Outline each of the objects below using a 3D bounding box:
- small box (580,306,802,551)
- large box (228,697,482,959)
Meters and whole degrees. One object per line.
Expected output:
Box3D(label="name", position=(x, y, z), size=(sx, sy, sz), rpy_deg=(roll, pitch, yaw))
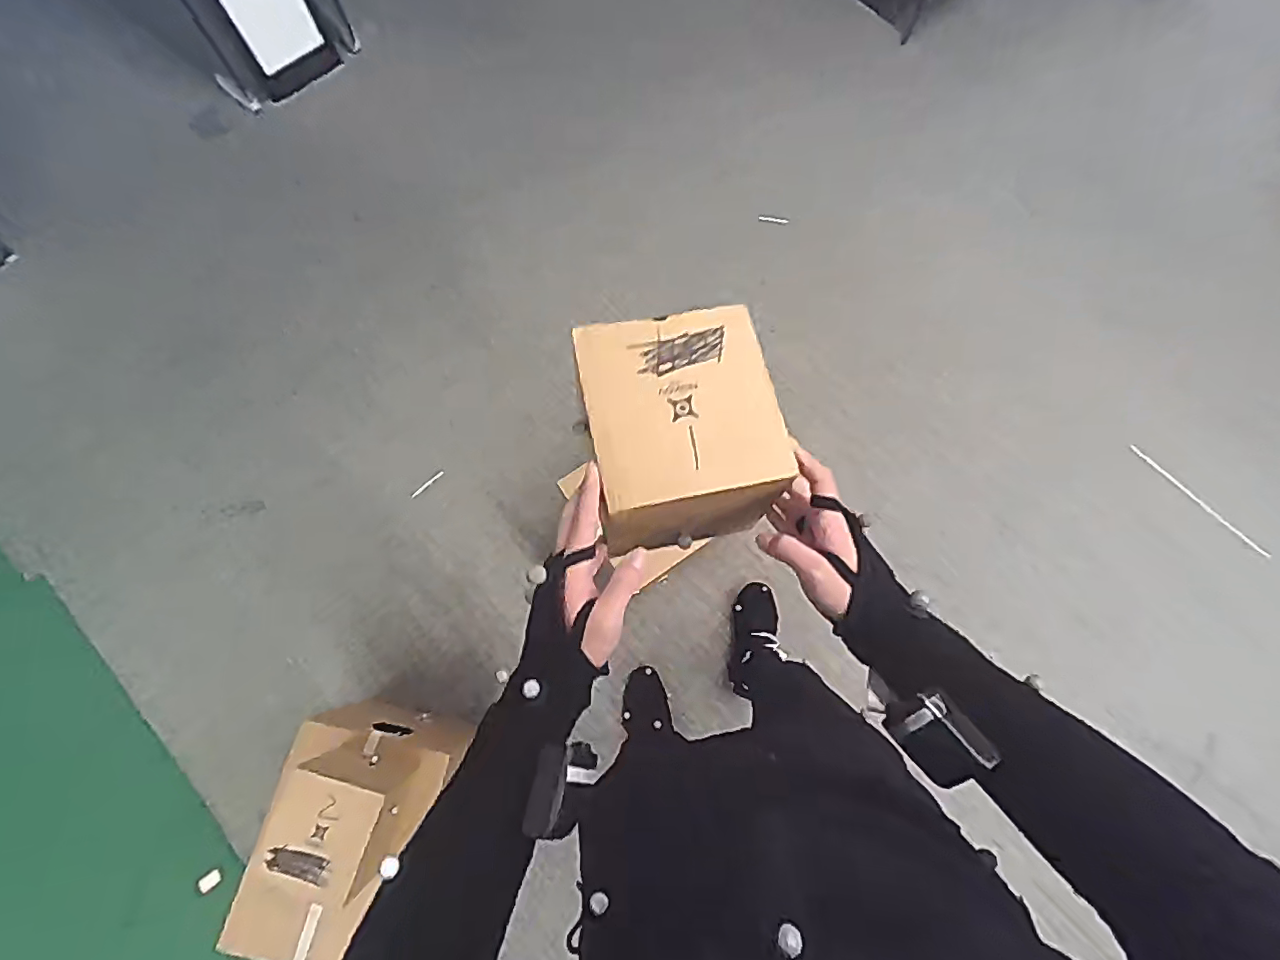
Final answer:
Box3D(label="small box", position=(0.034, -0.042, 0.539), size=(0.168, 0.176, 0.179), rpy_deg=(-10, 71, -7))
Box3D(label="large box", position=(-0.577, 0.730, 1.183), size=(0.320, 0.320, 0.408), rpy_deg=(13, 76, 2))
